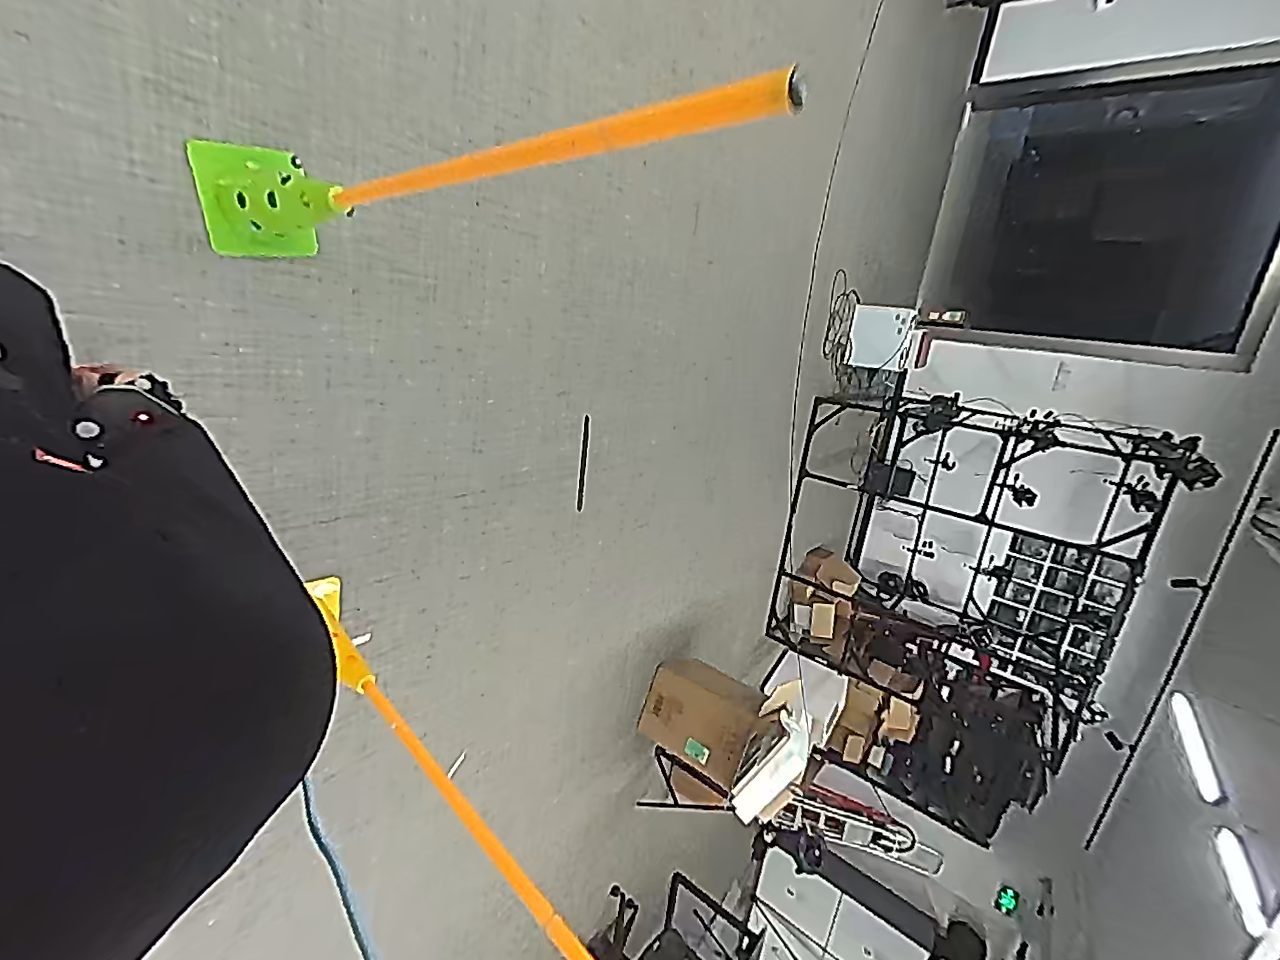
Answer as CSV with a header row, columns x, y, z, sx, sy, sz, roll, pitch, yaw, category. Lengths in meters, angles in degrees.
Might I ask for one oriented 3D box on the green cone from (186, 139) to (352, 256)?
x,y,z,sx,sy,sz,roll,pitch,yaw,category
-0.643,-0.512,0.997,0.200,0.368,0.202,-26,127,-46,green cone
